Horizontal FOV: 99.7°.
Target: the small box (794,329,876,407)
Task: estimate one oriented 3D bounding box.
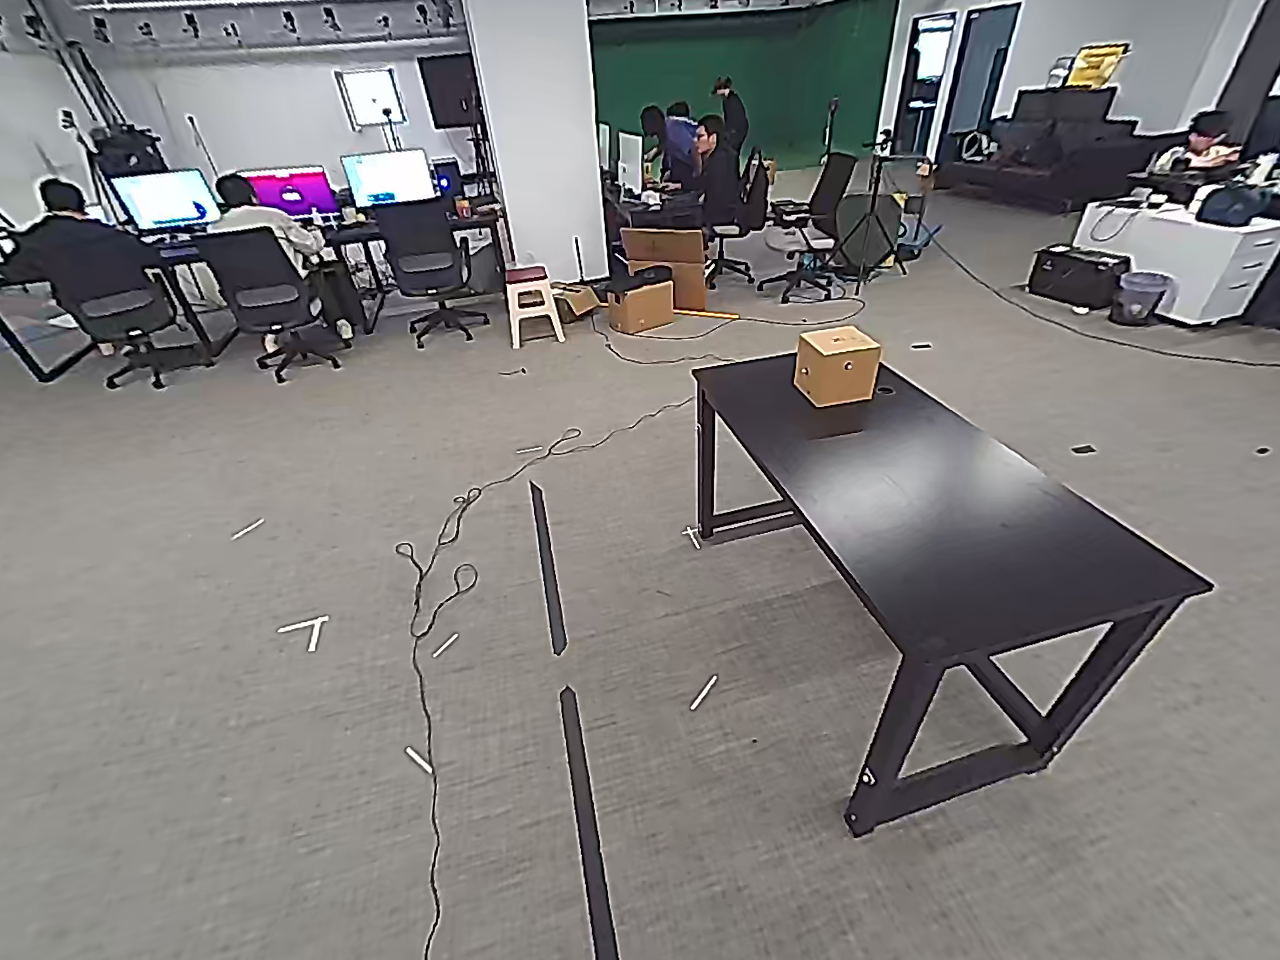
[{"bbox_3d":[0.573,-0.332,1.617,0.179,0.176,0.168,-10,37,-7],"label":"small box"}]
